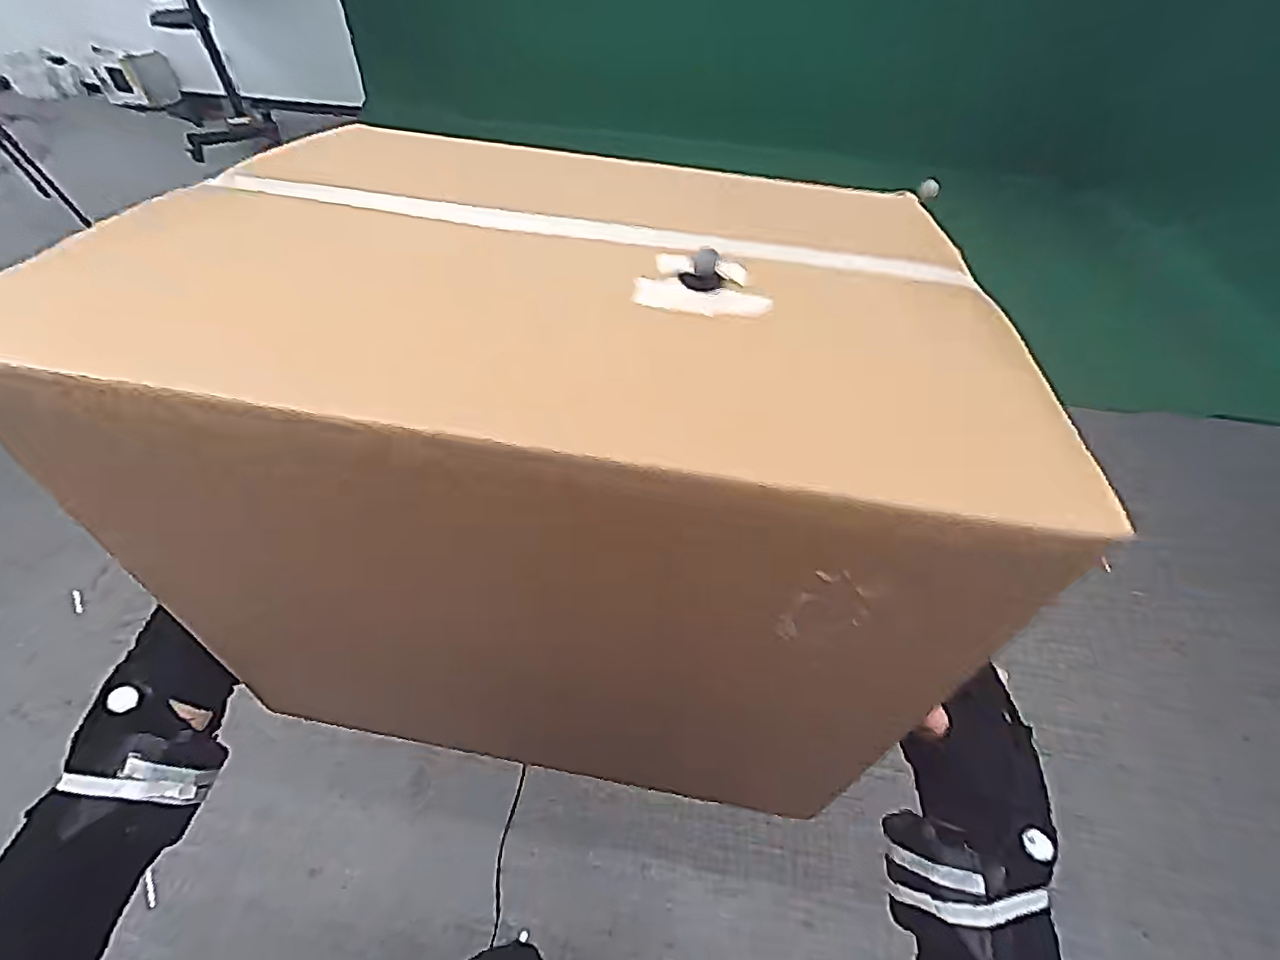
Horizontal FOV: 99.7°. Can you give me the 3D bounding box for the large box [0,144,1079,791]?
[{"bbox_3d":[-0.039,-0.015,0.397,0.408,0.320,0.320,10,45,3],"label":"large box"}]
